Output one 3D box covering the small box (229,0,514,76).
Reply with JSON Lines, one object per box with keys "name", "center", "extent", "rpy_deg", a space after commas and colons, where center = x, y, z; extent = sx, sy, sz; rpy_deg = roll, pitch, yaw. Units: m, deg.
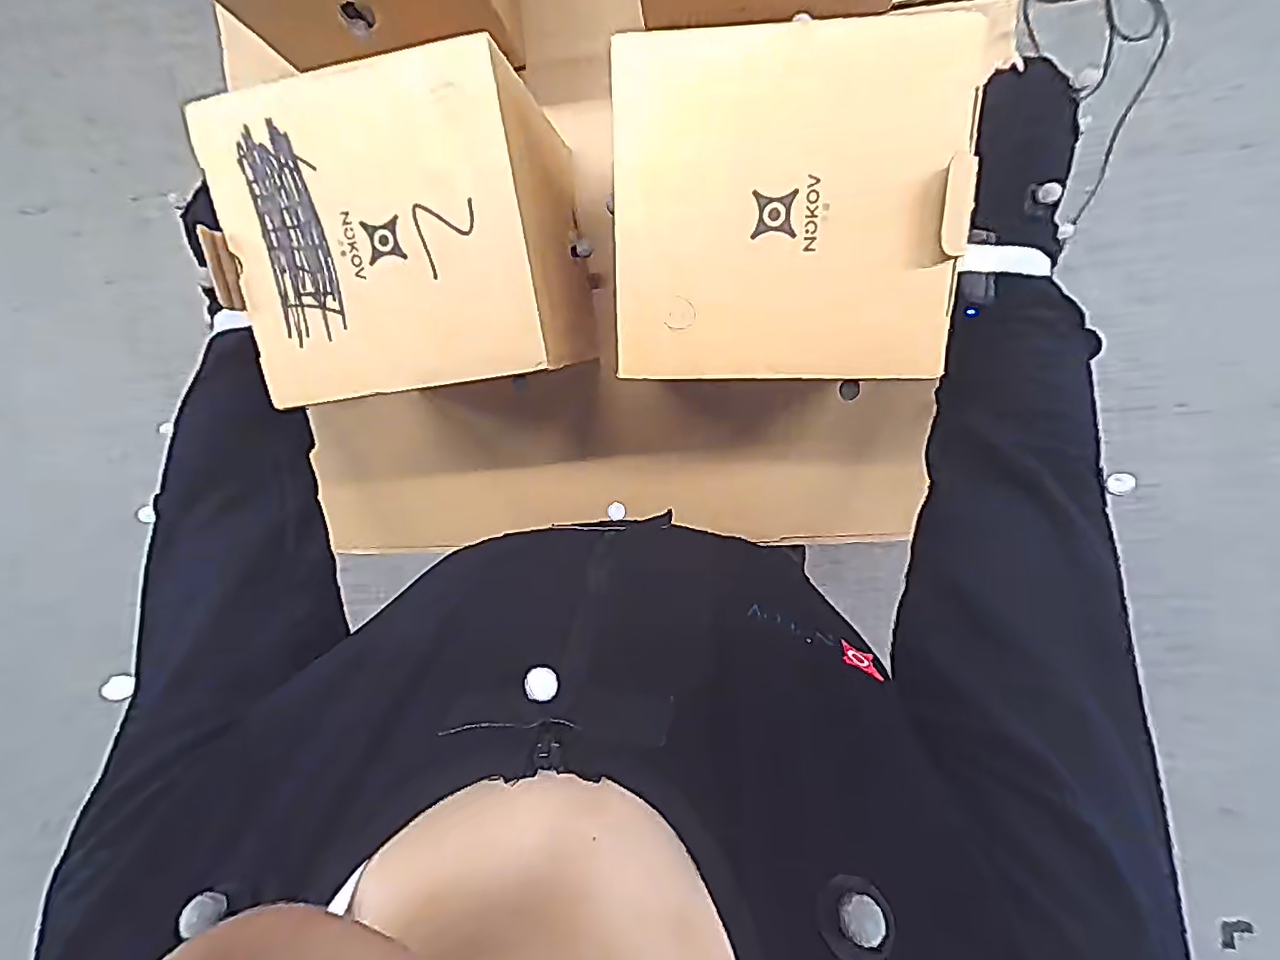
{"name": "small box", "center": [-0.188, -0.392, 0.338], "extent": [0.168, 0.176, 0.179], "rpy_deg": [-4, 97, 7]}
